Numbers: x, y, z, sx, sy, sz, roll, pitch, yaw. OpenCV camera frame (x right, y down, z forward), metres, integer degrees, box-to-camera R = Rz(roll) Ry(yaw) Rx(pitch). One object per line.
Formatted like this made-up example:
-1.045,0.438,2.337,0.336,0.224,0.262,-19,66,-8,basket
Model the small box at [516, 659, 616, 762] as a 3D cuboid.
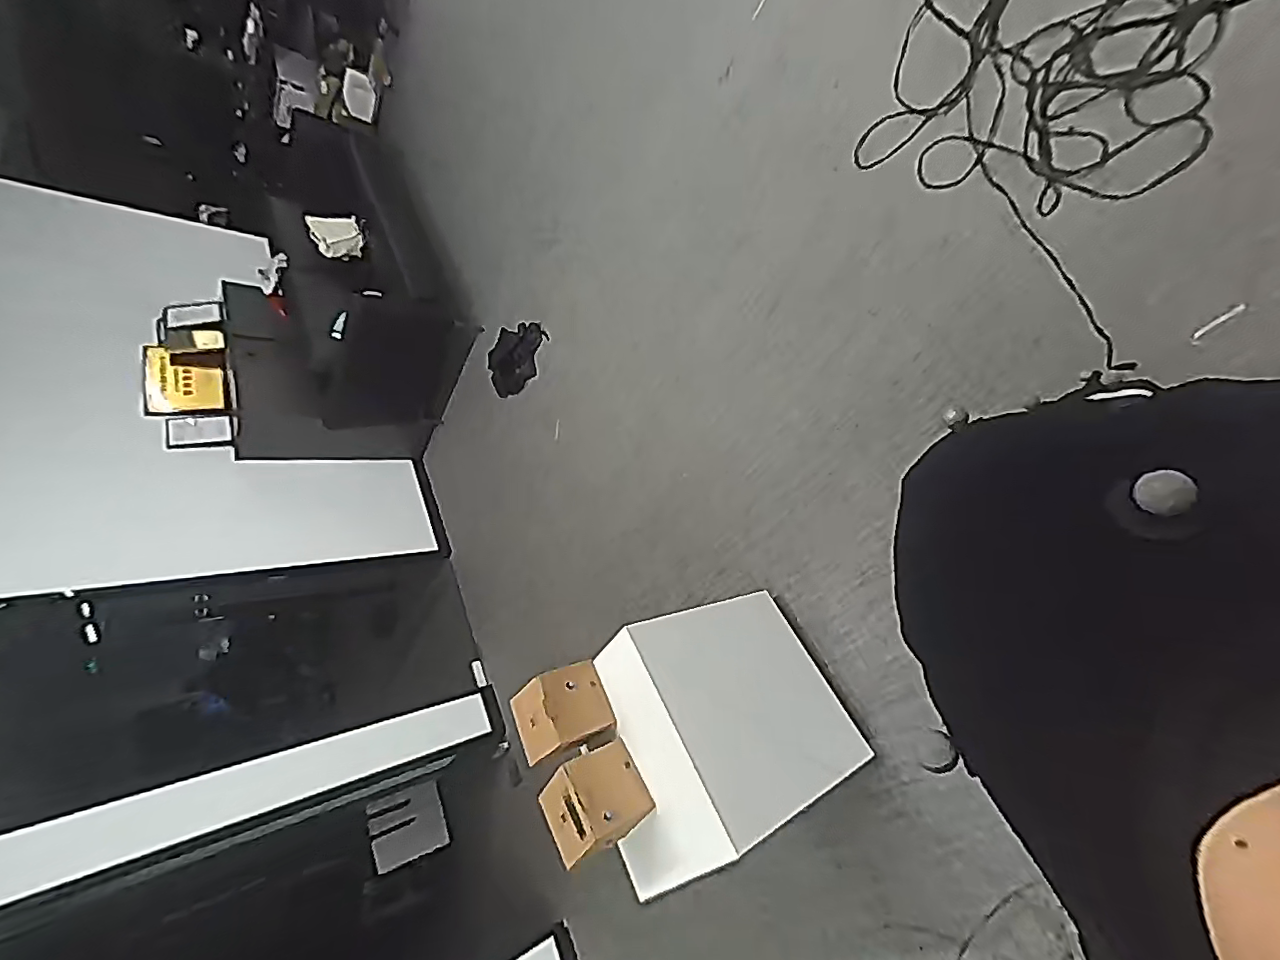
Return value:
-0.180,0.568,1.346,0.179,0.176,0.168,-51,55,38,small box
